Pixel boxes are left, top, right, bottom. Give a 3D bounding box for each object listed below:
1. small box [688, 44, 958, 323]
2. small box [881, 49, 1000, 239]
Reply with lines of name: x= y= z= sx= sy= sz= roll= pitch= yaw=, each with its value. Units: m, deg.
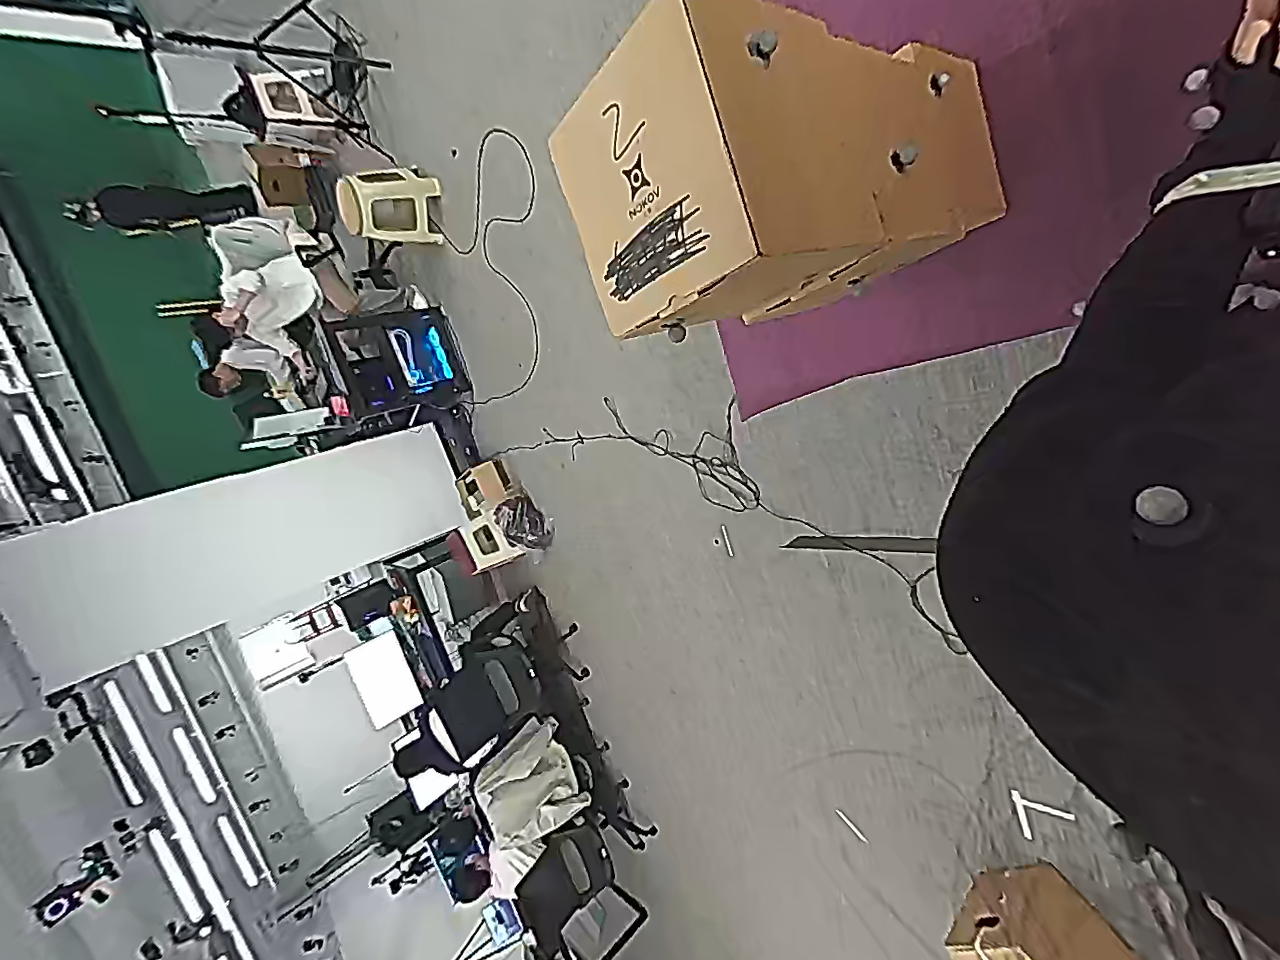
small box: x=0.185 y=-0.284 z=0.544 sx=0.168 sy=0.176 sz=0.179 roll=-16 pitch=97 yaw=53
small box: x=0.296 y=-0.358 z=0.641 sx=0.168 sy=0.176 sz=0.179 roll=-8 pitch=103 yaw=53
